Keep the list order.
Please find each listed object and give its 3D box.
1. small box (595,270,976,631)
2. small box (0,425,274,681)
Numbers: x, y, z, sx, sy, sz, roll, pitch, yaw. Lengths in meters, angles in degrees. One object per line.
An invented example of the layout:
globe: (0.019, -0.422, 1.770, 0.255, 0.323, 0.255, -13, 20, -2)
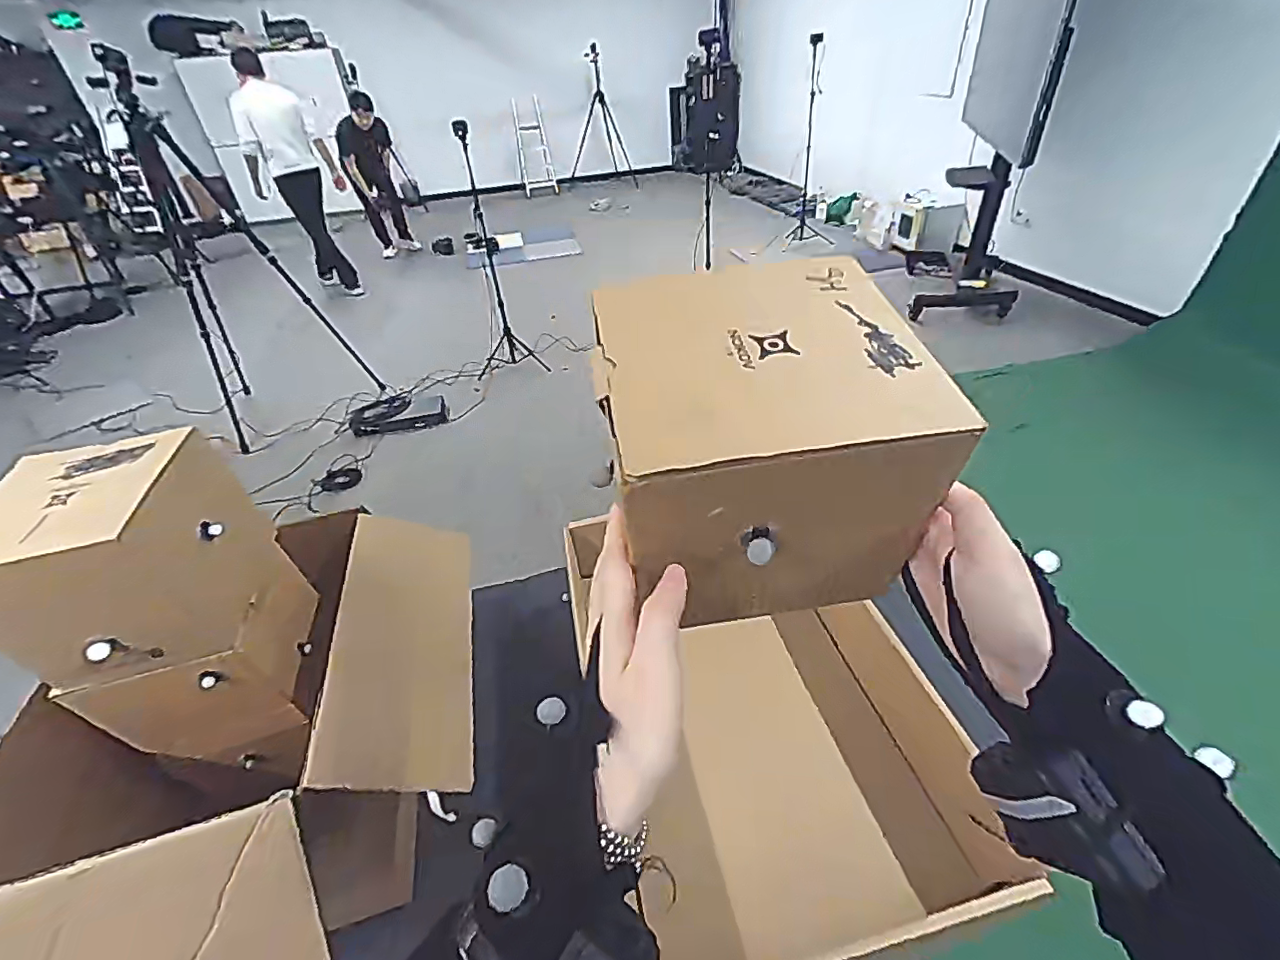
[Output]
small box: (0.072, -0.014, 0.366, 0.179, 0.176, 0.168, -9, 51, -3)
small box: (-0.517, 0.072, 0.555, 0.168, 0.176, 0.179, -13, 42, -6)
